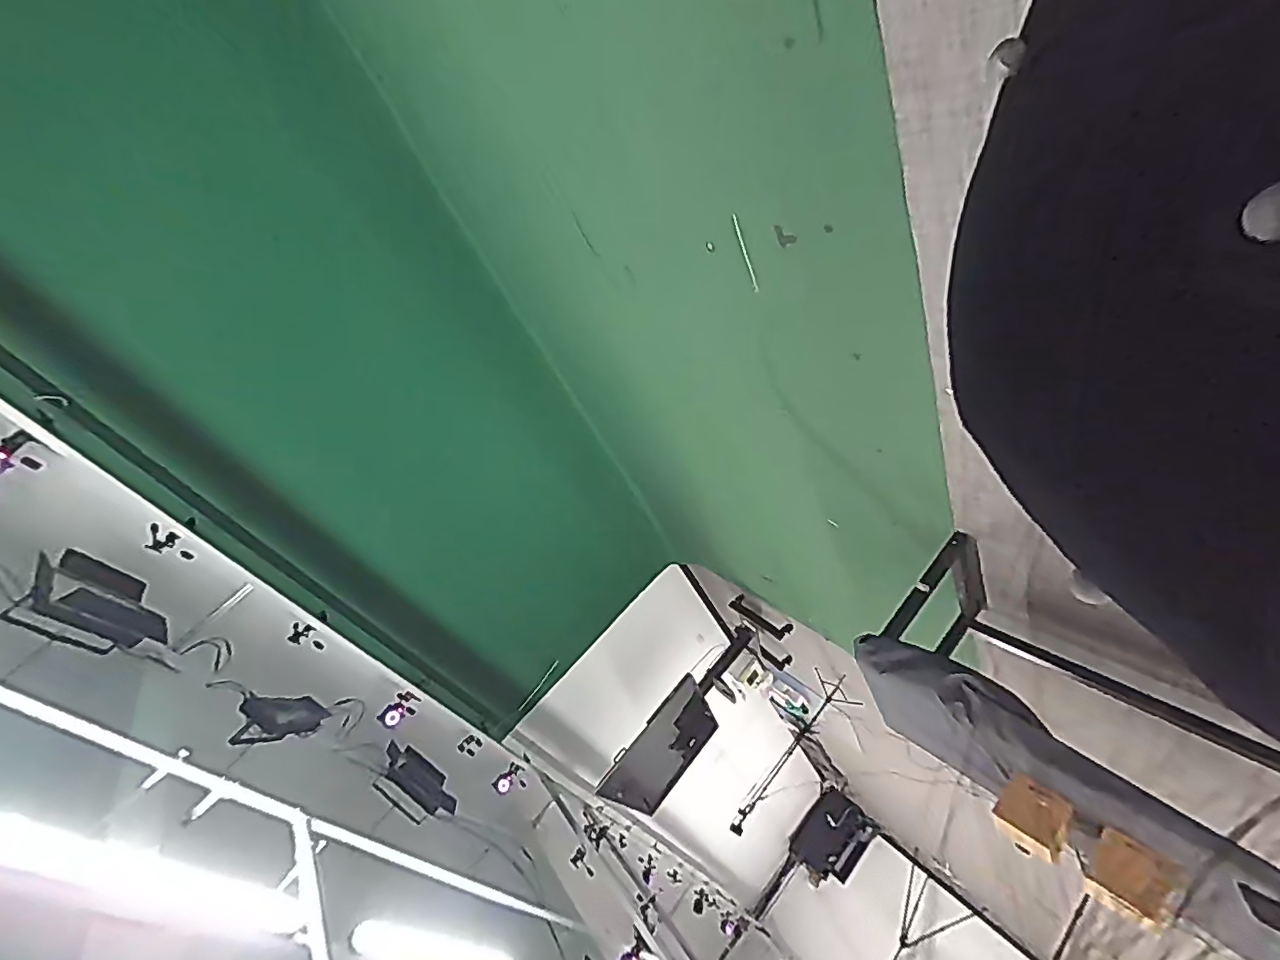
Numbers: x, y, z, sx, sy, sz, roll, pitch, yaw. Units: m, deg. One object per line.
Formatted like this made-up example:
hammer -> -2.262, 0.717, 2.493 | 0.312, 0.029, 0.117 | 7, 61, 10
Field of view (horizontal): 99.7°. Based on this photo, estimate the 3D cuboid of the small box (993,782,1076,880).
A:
small box -> 1.274, 1.124, 1.740 | 0.168, 0.176, 0.179 | 20, 148, 52

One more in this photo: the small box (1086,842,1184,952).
small box -> 1.413, 1.185, 1.546 | 0.168, 0.176, 0.179 | 23, 152, 52
